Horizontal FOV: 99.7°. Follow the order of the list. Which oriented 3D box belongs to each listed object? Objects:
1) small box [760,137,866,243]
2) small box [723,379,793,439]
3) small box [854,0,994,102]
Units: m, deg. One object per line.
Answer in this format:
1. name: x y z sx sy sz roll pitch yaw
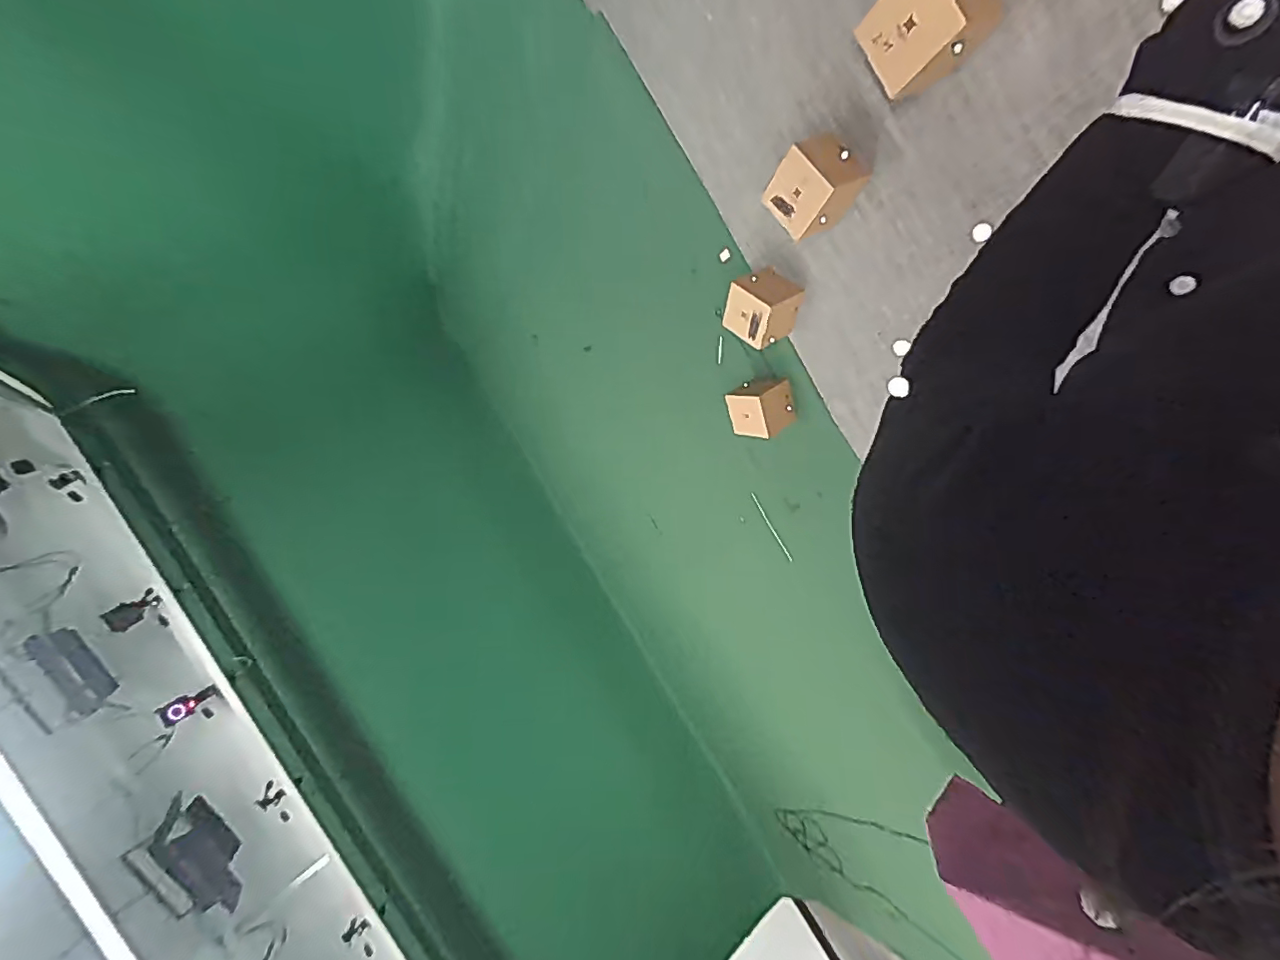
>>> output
1. small box: 0.467 -0.784 1.461 0.168 0.176 0.179 54 152 8
2. small box: 0.443 -0.271 2.031 0.179 0.176 0.168 16 132 53
3. small box: 0.588 -0.929 1.111 0.168 0.176 0.179 61 153 -3
